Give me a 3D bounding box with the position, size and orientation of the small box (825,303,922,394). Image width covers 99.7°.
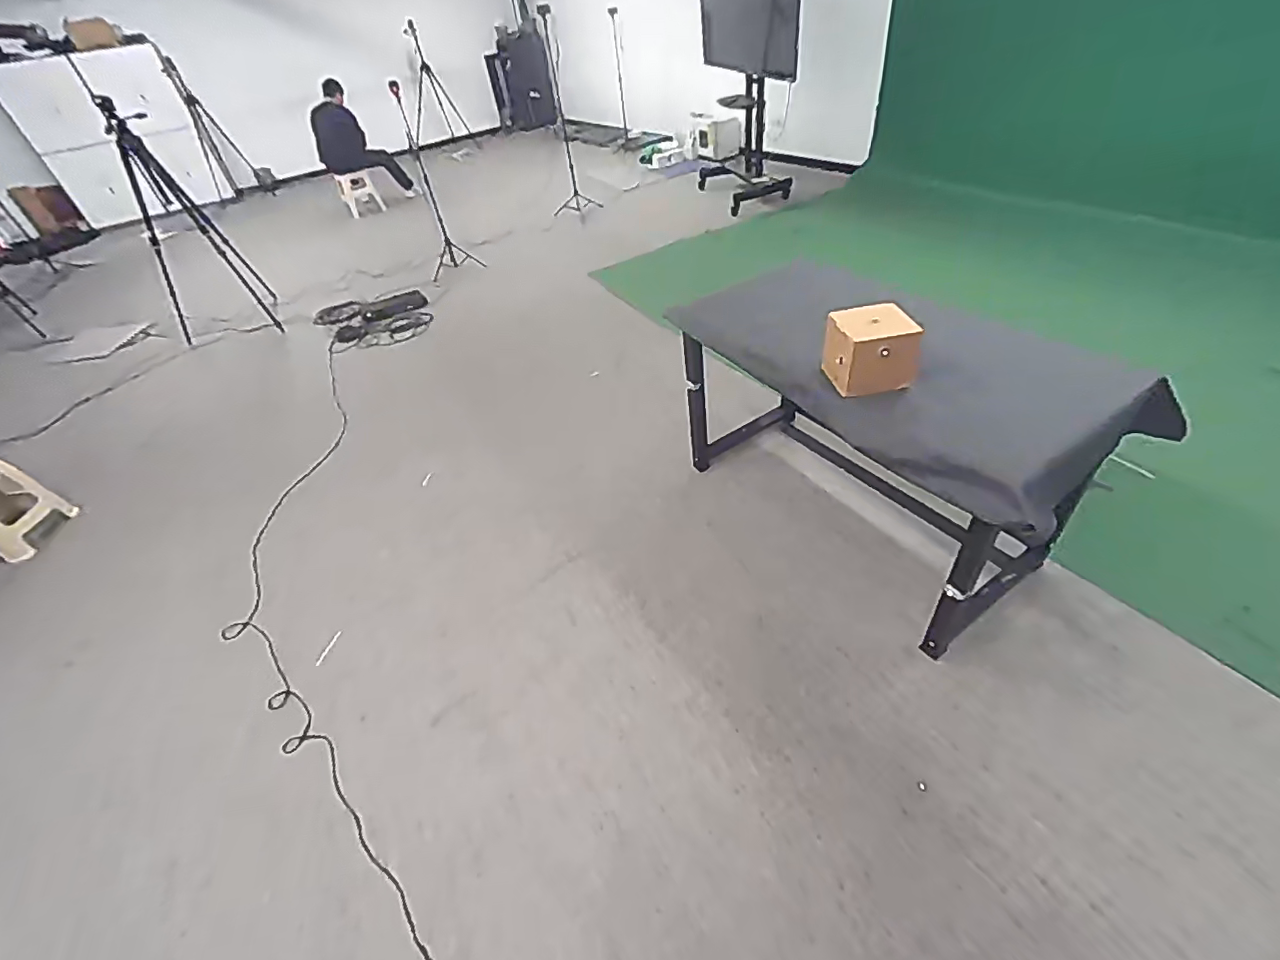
[{"bbox_3d":[0.599,-0.341,1.417,0.179,0.176,0.168,-9,43,-1],"label":"small box"}]
